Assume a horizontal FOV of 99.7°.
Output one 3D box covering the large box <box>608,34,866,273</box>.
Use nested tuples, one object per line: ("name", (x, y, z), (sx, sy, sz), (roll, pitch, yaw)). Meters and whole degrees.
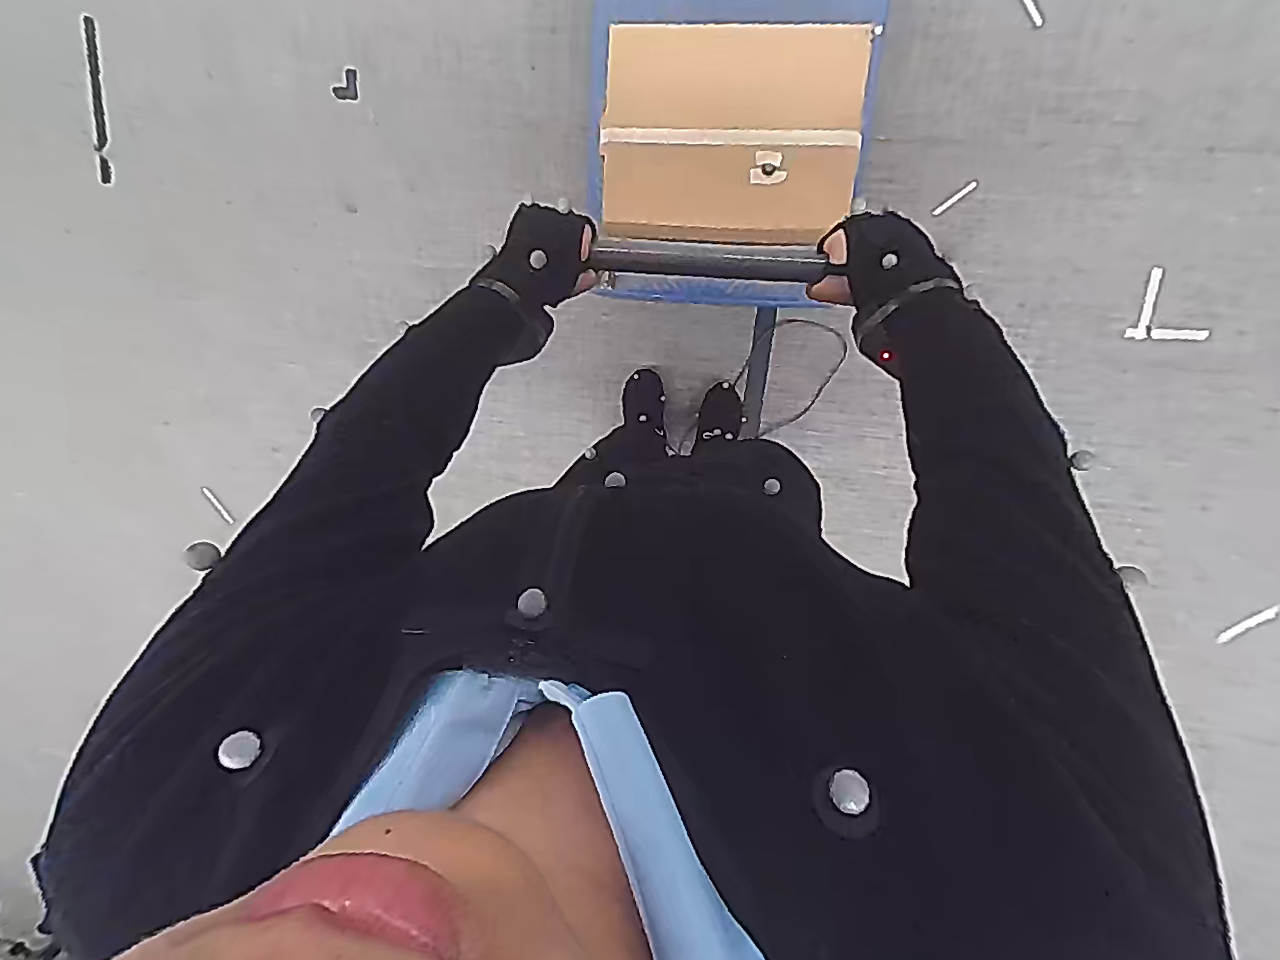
("large box", (0.160, -0.581, 1.027), (0.408, 0.320, 0.320), (4, 104, 5))
